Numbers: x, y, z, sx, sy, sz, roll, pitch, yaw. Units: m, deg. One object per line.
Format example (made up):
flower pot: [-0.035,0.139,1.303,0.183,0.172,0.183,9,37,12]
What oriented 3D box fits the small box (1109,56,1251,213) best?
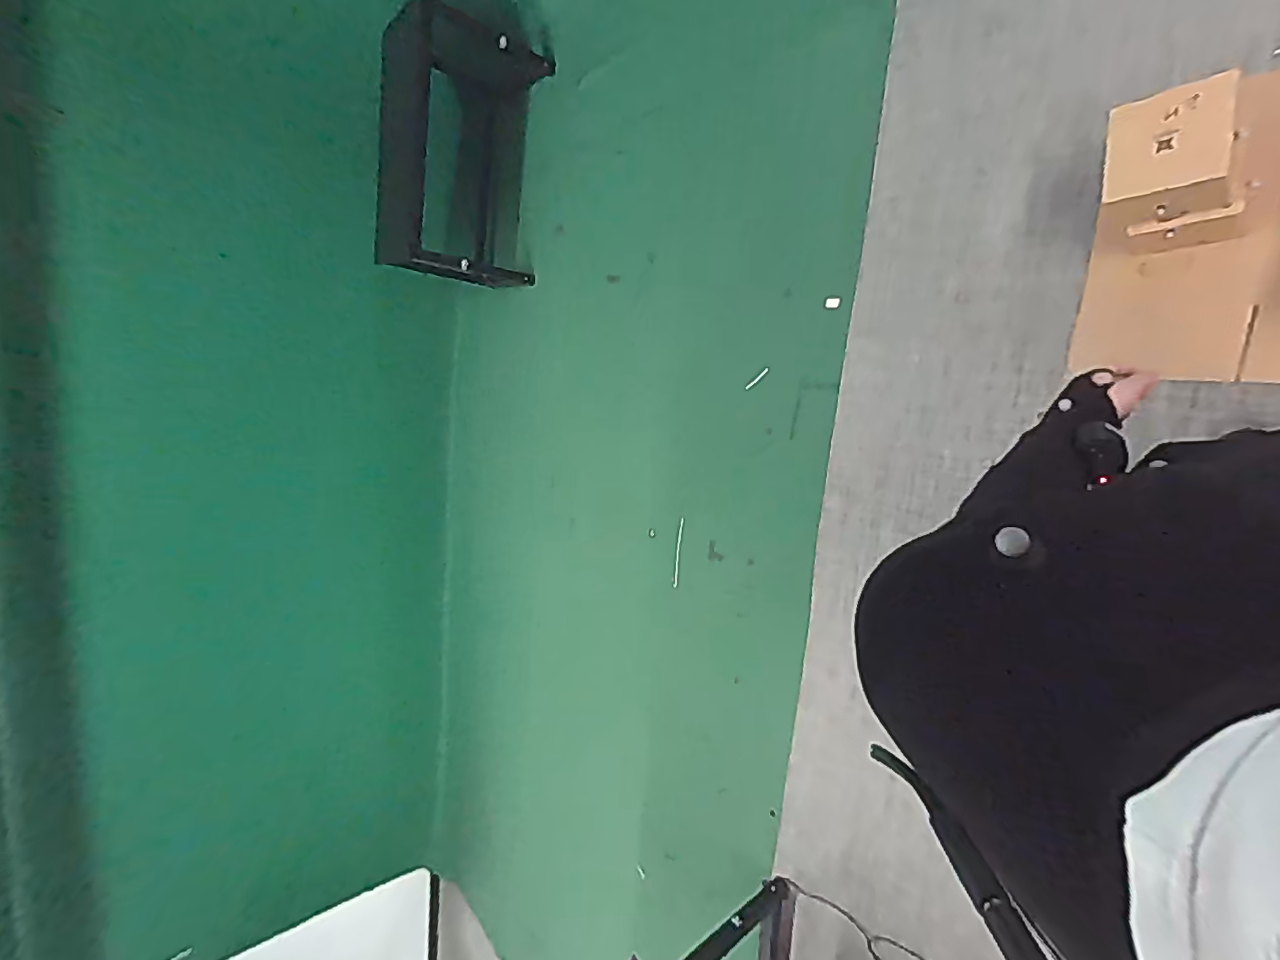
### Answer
small box: [0.996,-0.616,0.997,0.168,0.176,0.179,7,96,47]

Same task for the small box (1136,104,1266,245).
small box: [1.131,-0.603,1.093,0.168,0.176,0.179,5,96,49]
